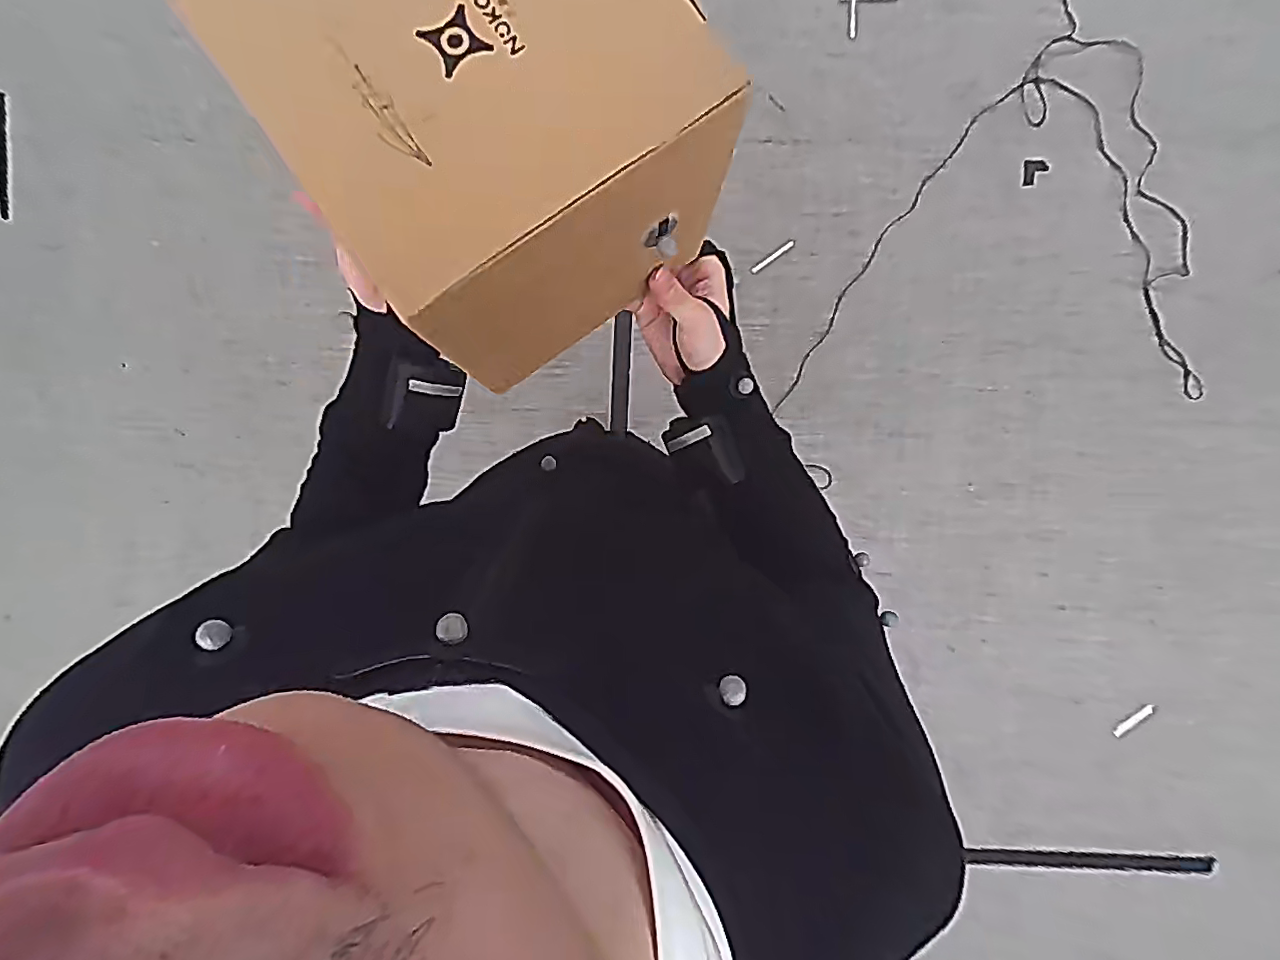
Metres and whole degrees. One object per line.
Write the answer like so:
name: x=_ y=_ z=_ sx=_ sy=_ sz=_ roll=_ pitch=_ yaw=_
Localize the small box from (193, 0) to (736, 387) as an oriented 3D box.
small box: x=-0.075 y=-0.178 z=0.310 sx=0.179 sy=0.176 sz=0.168 roll=-37 pitch=89 yaw=-1
